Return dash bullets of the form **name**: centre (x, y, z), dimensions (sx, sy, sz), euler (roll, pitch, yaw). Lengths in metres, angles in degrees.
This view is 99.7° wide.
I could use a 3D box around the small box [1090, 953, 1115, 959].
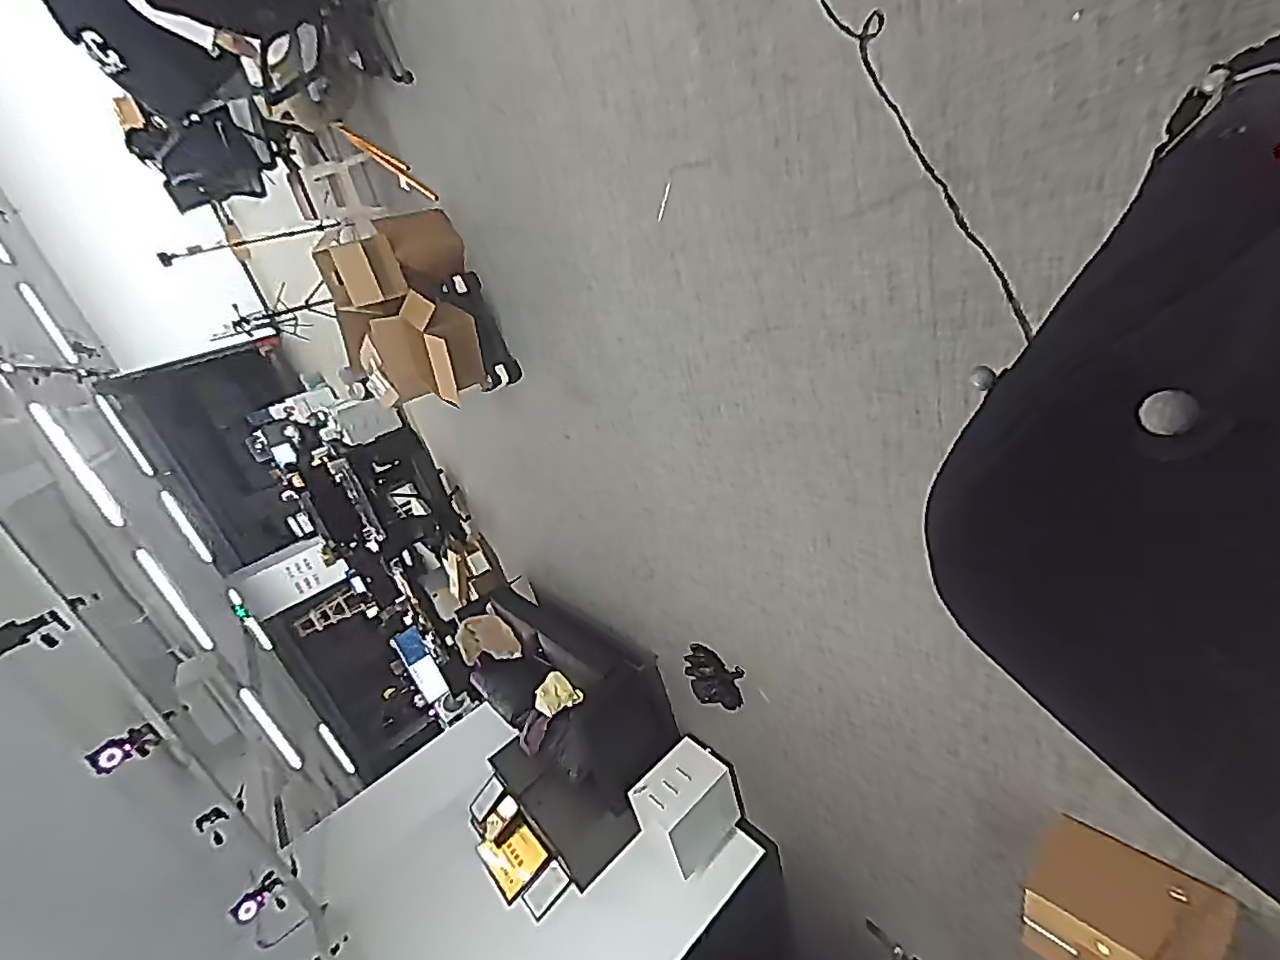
- **small box**: centre (1.293, 1.437, 1.455), dimensions (0.179, 0.176, 0.168), euler (20, 128, 47)
